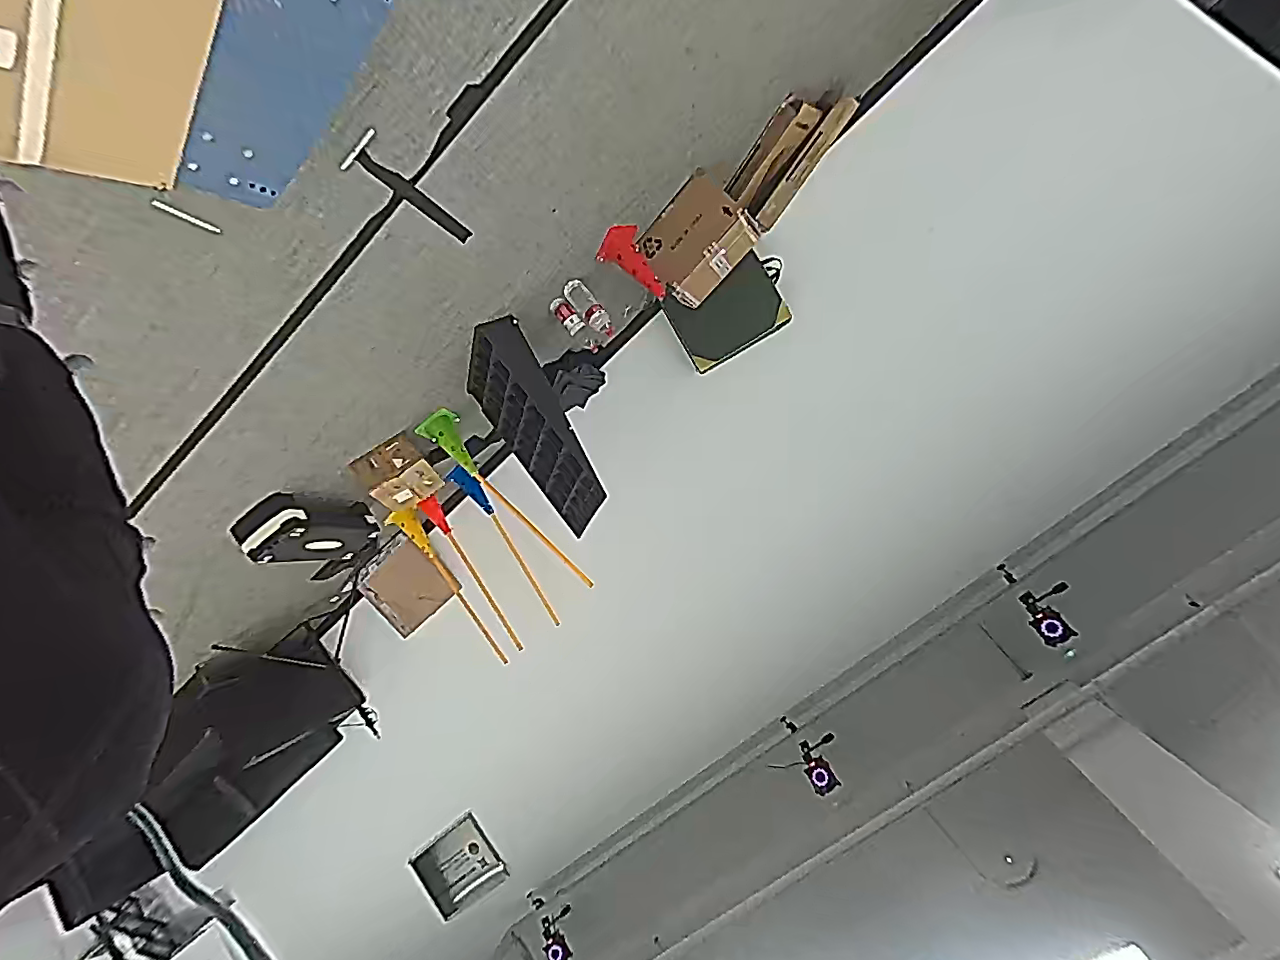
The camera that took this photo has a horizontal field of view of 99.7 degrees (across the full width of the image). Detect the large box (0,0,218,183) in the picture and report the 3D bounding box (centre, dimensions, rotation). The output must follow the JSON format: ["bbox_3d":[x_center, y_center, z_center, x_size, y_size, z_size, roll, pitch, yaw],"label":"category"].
[{"bbox_3d":[-0.729,-0.629,0.583,0.408,0.320,0.320,-42,175,28],"label":"large box"}]
